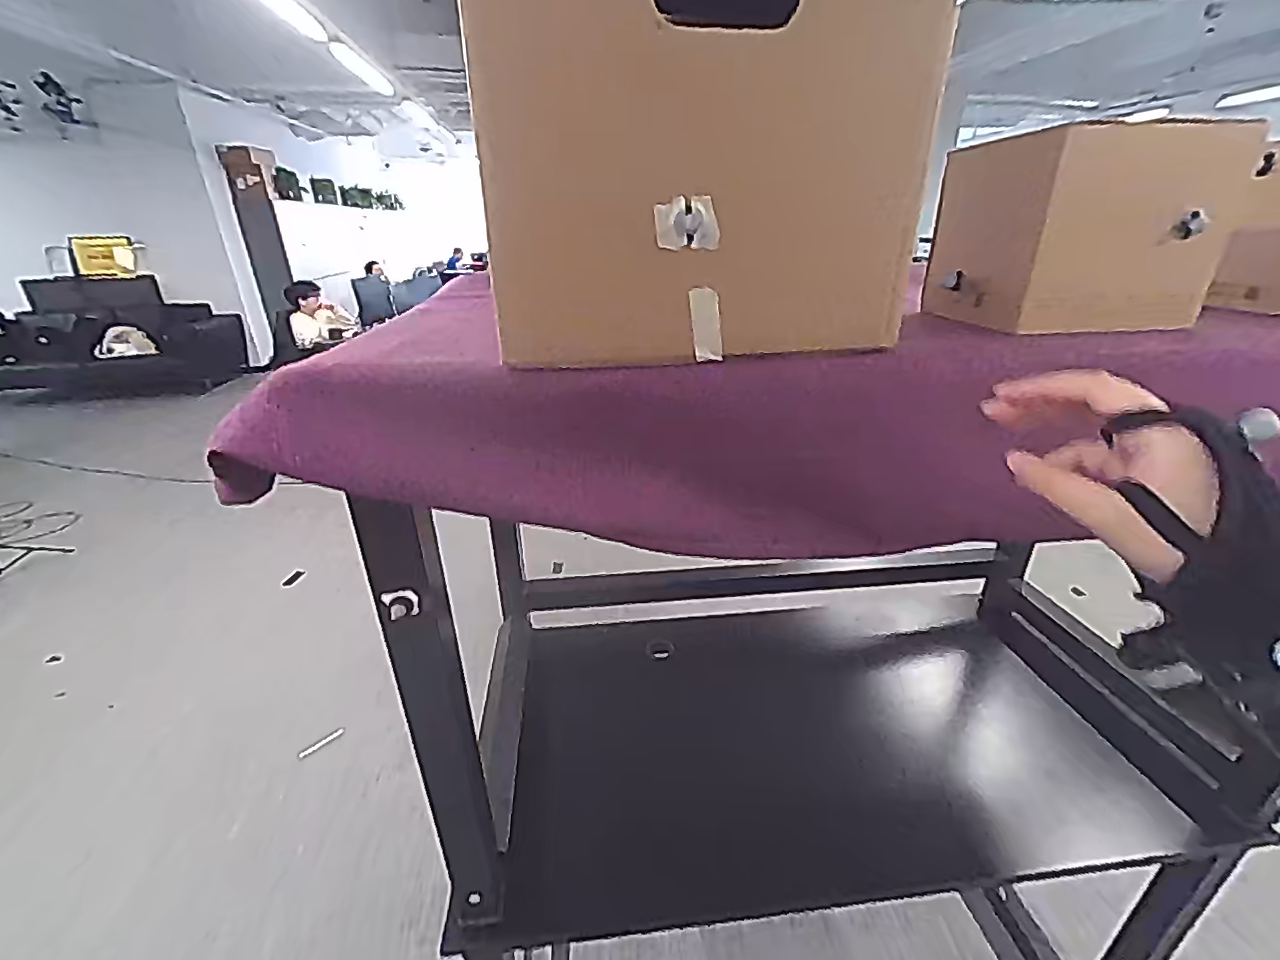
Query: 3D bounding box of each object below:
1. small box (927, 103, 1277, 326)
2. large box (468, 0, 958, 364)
[{"bbox_3d":[0.417,-0.250,0.528,0.179,0.176,0.168,-3,24,-3],"label":"small box"},{"bbox_3d":[0.022,-0.308,0.516,0.320,0.320,0.408,-4,24,-8],"label":"large box"}]
